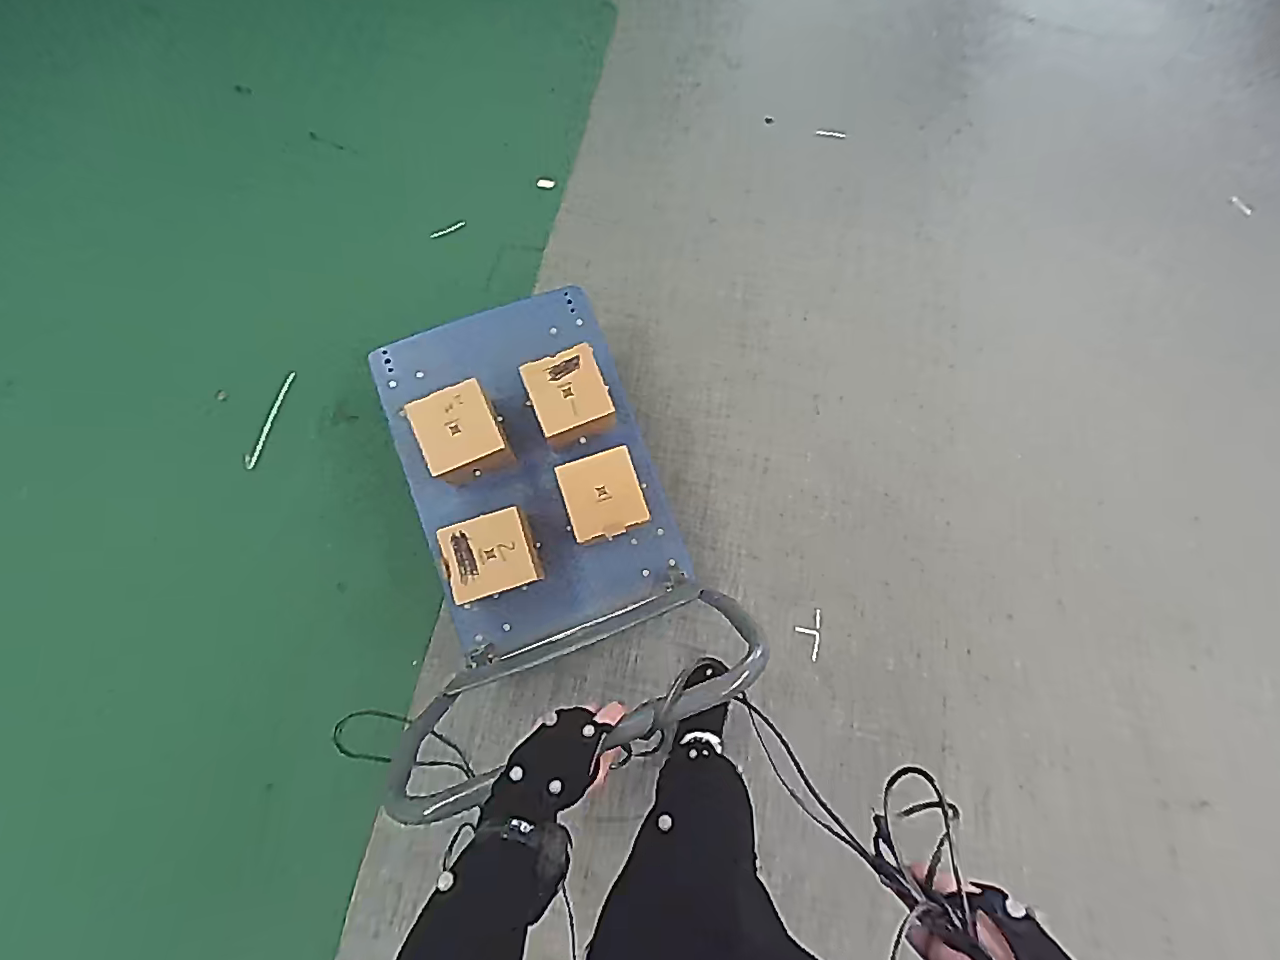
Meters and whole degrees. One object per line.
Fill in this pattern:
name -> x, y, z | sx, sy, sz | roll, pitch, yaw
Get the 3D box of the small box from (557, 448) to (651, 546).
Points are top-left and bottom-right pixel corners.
small box -> -0.084, 0.045, 1.245 | 0.168, 0.176, 0.179 | -19, 83, -5

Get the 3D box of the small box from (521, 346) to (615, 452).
small box -> -0.165, -0.184, 1.273 | 0.168, 0.176, 0.179 | -22, 84, -5

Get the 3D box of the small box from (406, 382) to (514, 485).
small box -> -0.405, -0.097, 1.247 | 0.168, 0.176, 0.179 | -24, 83, -7
